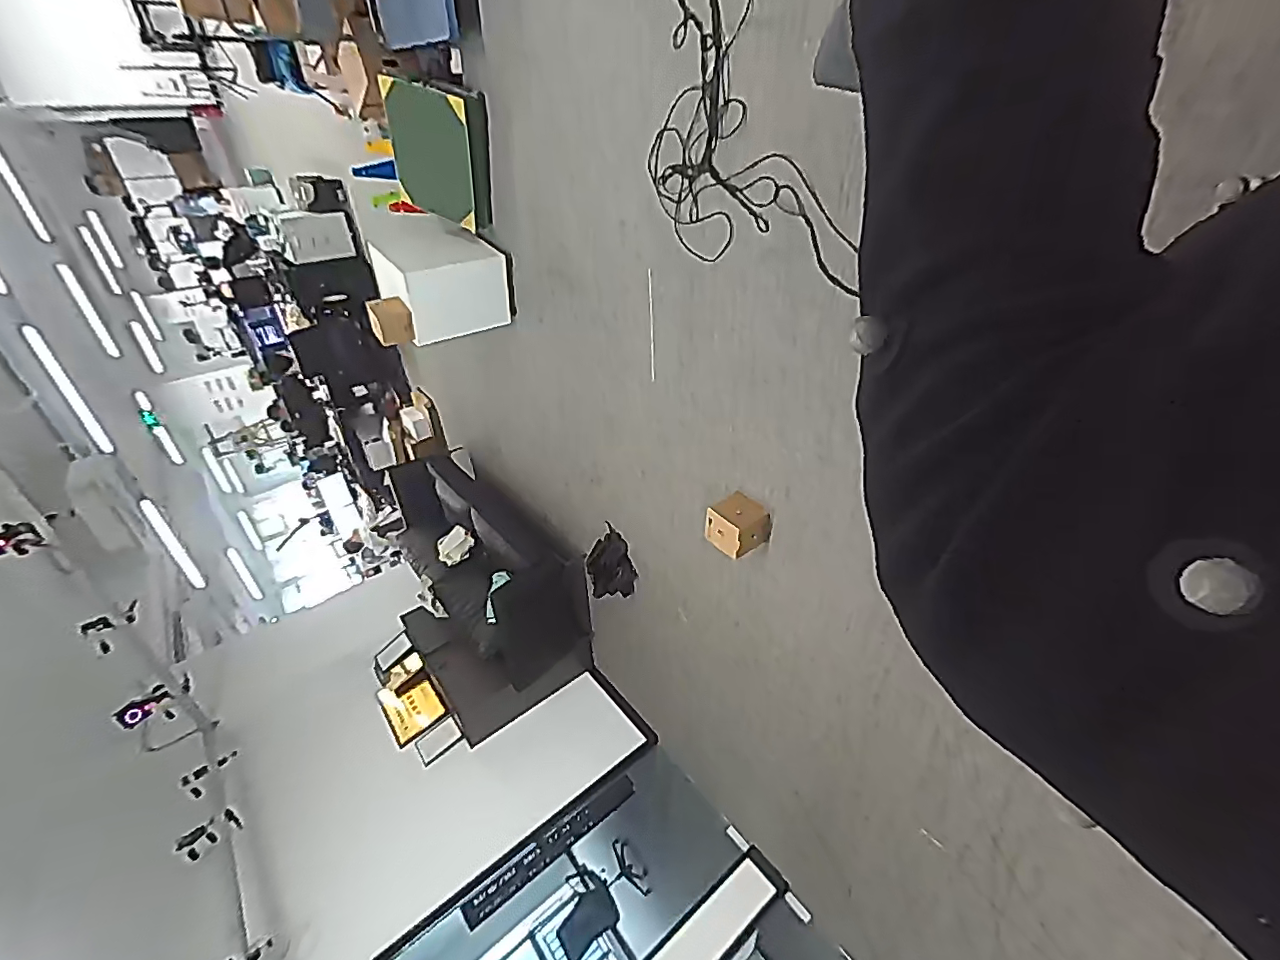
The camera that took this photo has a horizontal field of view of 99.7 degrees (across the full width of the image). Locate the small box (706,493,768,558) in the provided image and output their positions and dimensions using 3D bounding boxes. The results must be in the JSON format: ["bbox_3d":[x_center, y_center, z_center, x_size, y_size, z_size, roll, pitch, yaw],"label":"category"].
[{"bbox_3d":[0.389,0.175,2.165,0.179,0.176,0.168,36,139,38],"label":"small box"}]
